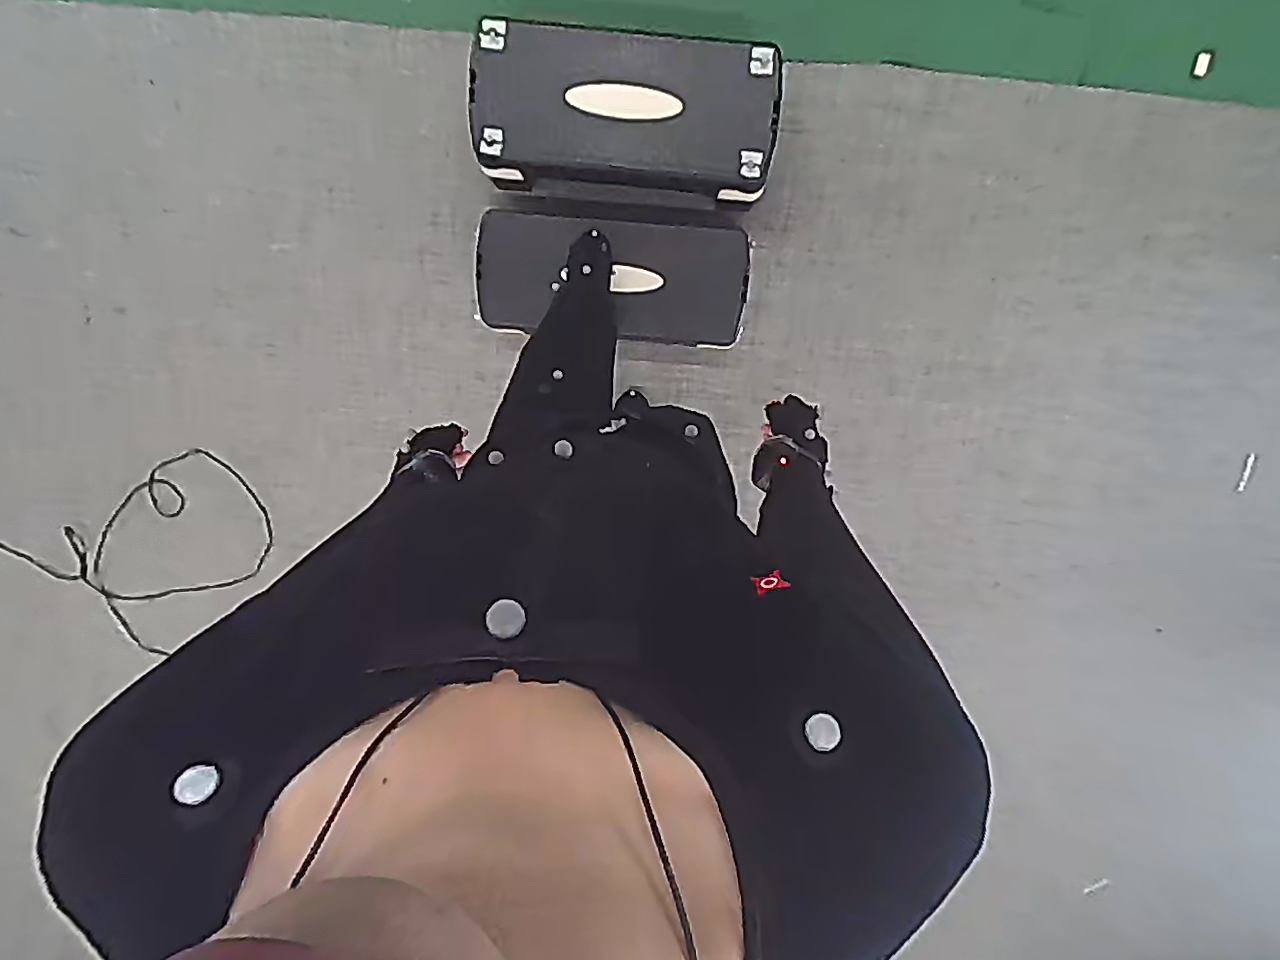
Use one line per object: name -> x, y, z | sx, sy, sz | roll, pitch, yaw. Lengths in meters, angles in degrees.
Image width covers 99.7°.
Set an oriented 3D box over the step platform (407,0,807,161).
step platform -> -0.058, -0.797, 1.013 | 0.684, 0.204, 0.286 | 5, 103, 0
